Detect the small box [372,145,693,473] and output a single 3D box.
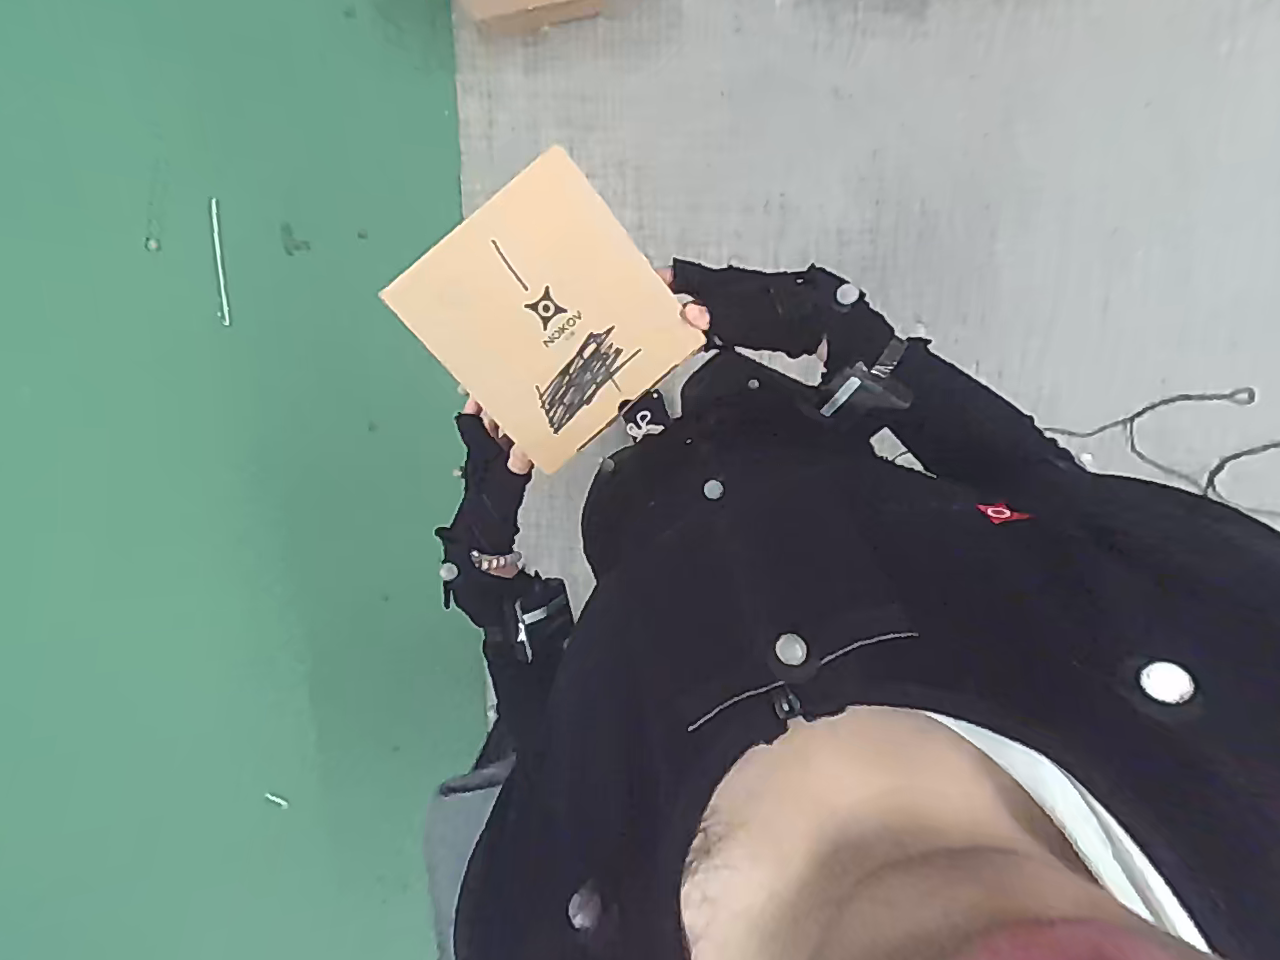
[{"bbox_3d":[-0.085,-0.135,0.471,0.168,0.176,0.179,-41,105,-1],"label":"small box"}]
